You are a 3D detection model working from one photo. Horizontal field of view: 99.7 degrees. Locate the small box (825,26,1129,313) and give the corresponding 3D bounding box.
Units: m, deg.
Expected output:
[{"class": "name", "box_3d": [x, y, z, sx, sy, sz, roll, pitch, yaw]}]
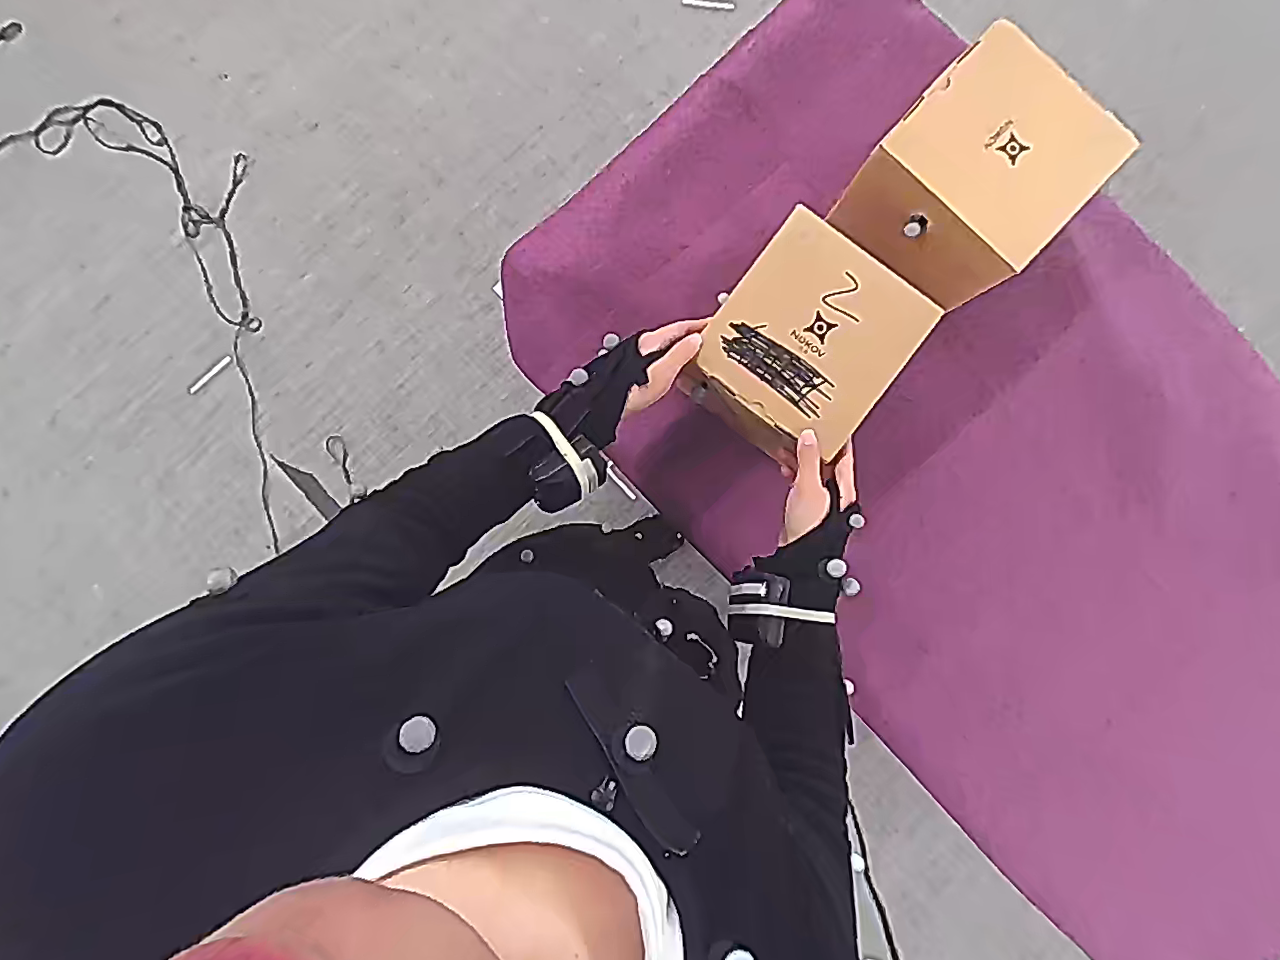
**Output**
[{"class": "small box", "box_3d": [0.336, -0.304, 0.578, 0.179, 0.176, 0.168, 44, 89, 1]}]
